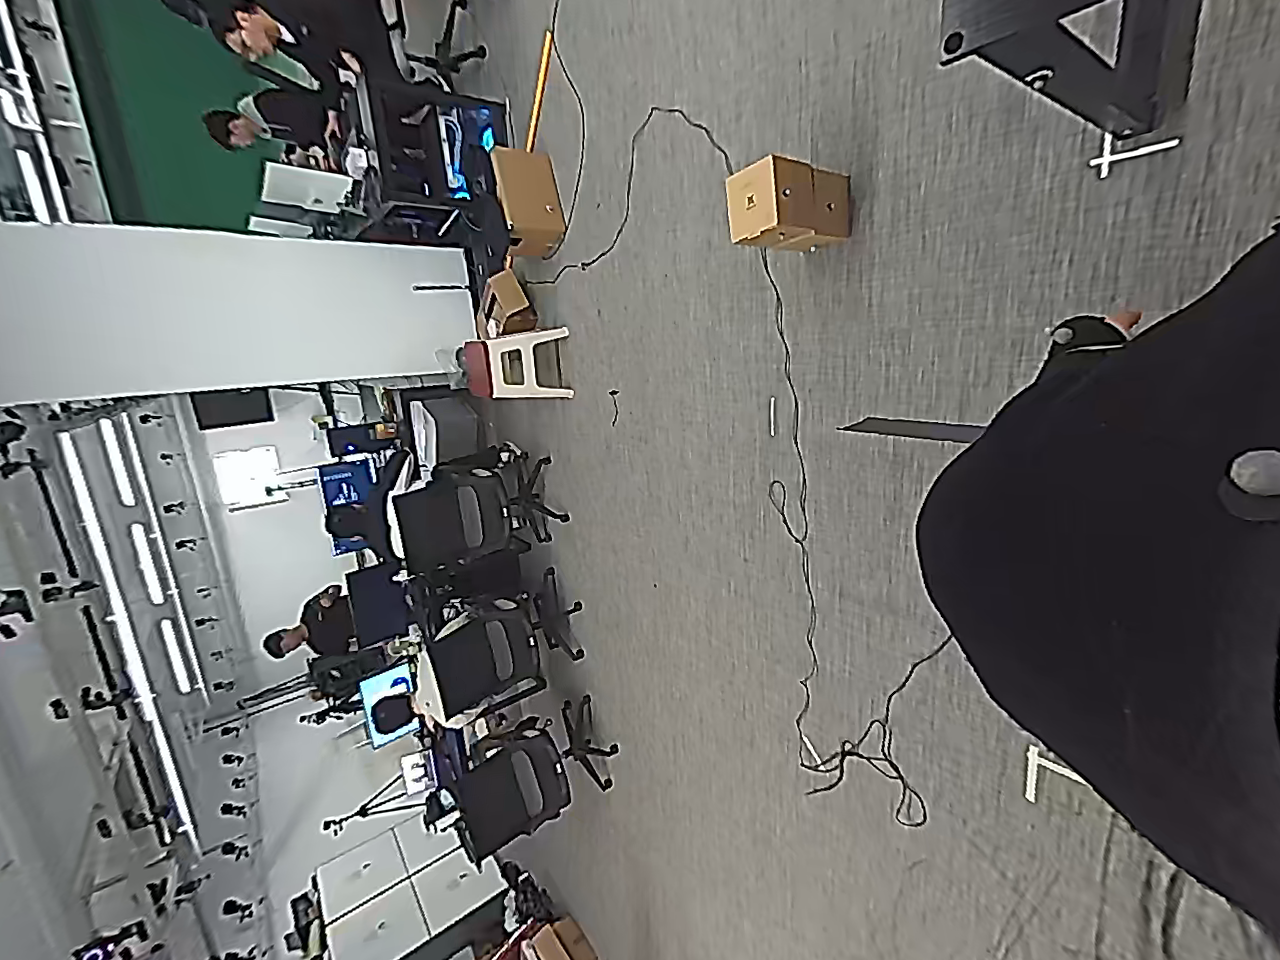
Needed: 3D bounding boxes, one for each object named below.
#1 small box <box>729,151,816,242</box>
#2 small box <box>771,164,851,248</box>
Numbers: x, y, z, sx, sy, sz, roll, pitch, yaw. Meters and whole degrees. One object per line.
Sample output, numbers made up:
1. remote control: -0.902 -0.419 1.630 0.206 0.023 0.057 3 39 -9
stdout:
1. small box: 0.368 -0.767 1.486 0.168 0.176 0.179 5 103 53
2. small box: 0.499 -0.791 1.579 0.168 0.176 0.179 10 110 53
